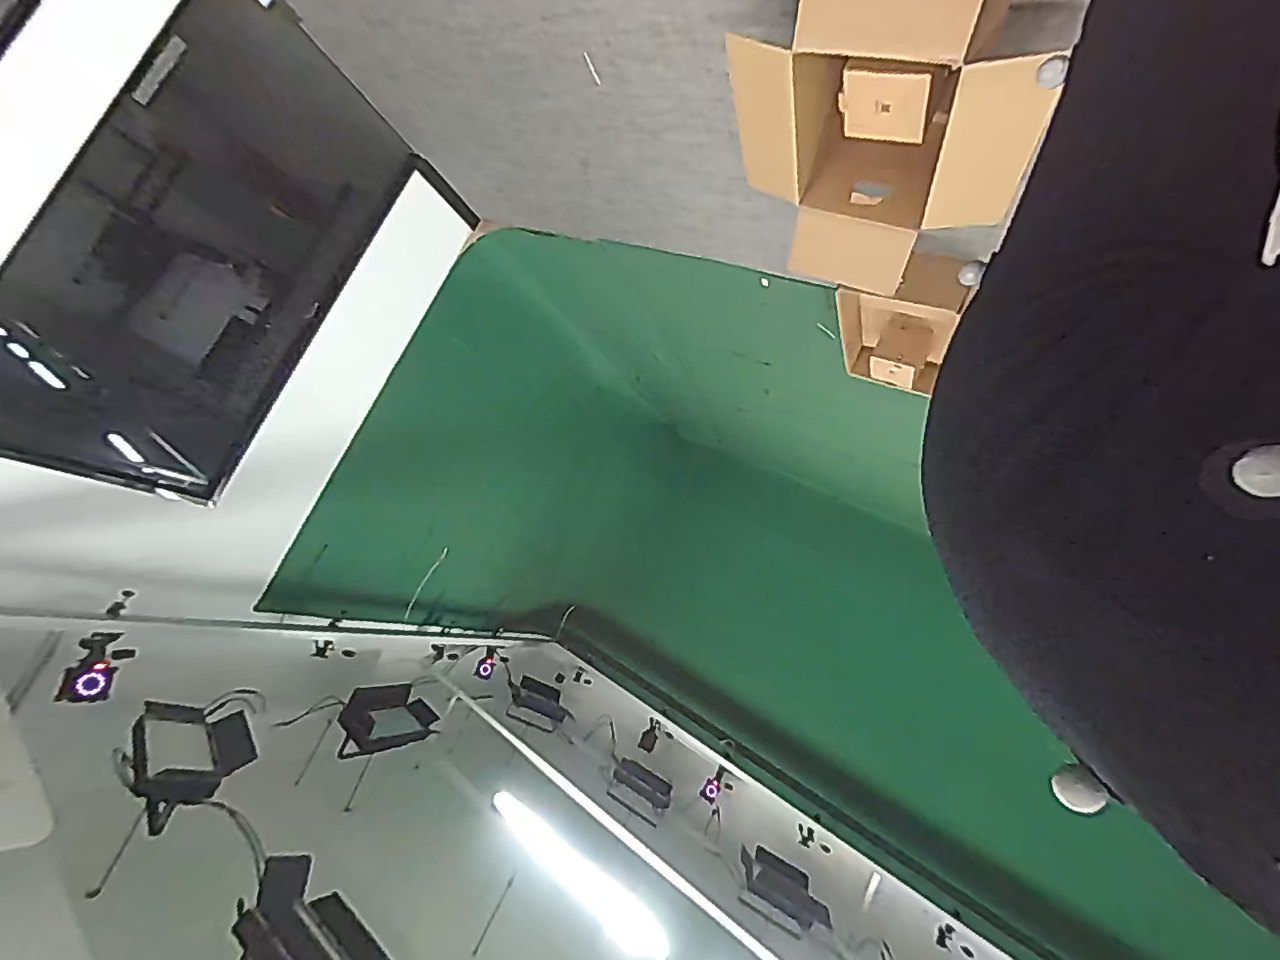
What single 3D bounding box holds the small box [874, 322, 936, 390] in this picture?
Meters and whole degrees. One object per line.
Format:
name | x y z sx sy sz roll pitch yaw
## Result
small box | 1.026 -0.482 2.097 0.168 0.176 0.179 26 174 29
